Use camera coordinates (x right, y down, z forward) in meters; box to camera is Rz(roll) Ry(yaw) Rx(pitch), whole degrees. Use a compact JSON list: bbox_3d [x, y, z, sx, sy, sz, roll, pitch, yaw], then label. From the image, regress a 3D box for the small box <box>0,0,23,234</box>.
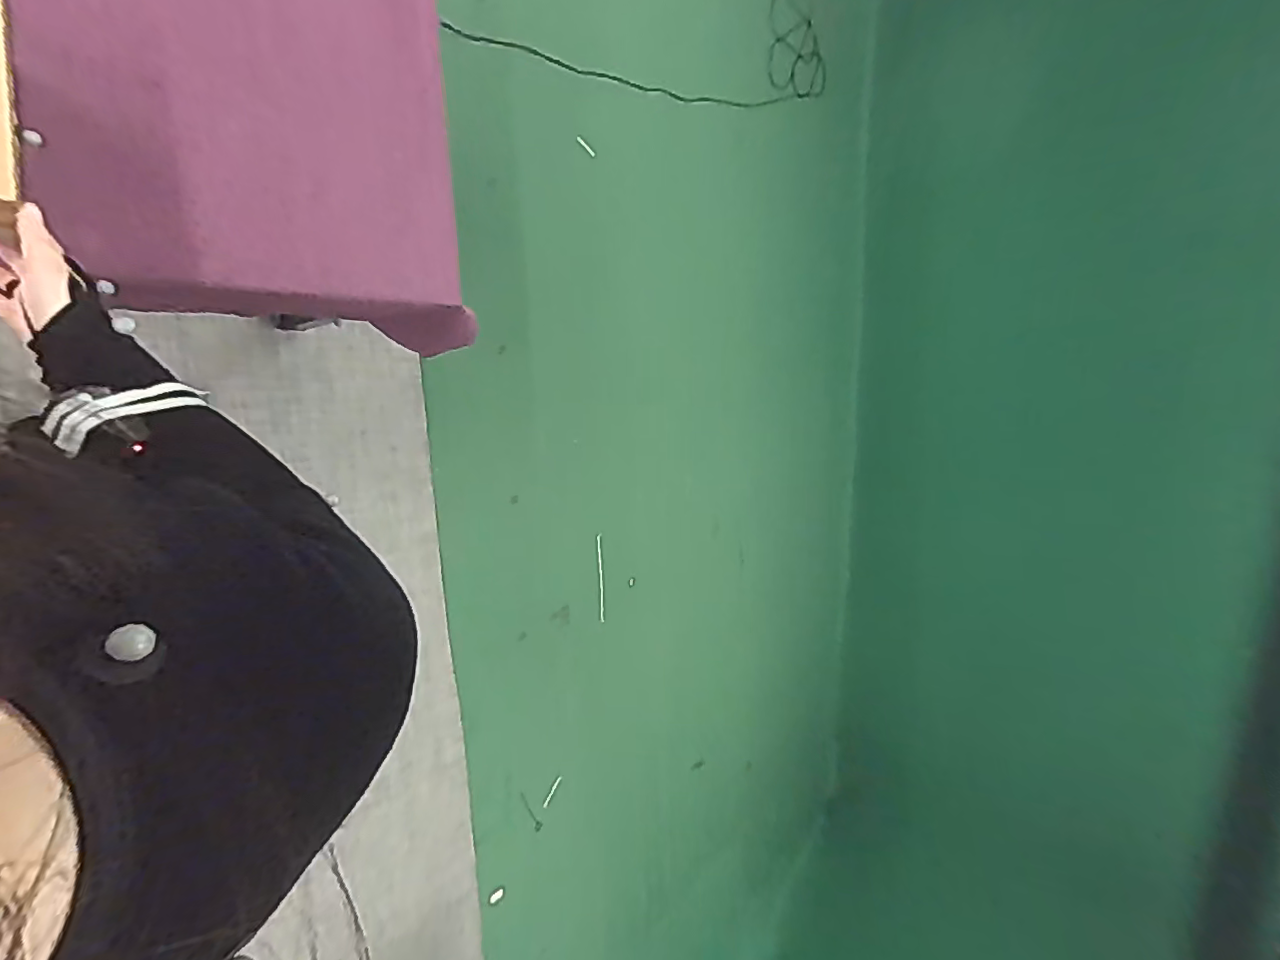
[{"bbox_3d":[-0.585,-0.294,0.393,0.179,0.176,0.168,-4,98,-46],"label":"small box"}]
